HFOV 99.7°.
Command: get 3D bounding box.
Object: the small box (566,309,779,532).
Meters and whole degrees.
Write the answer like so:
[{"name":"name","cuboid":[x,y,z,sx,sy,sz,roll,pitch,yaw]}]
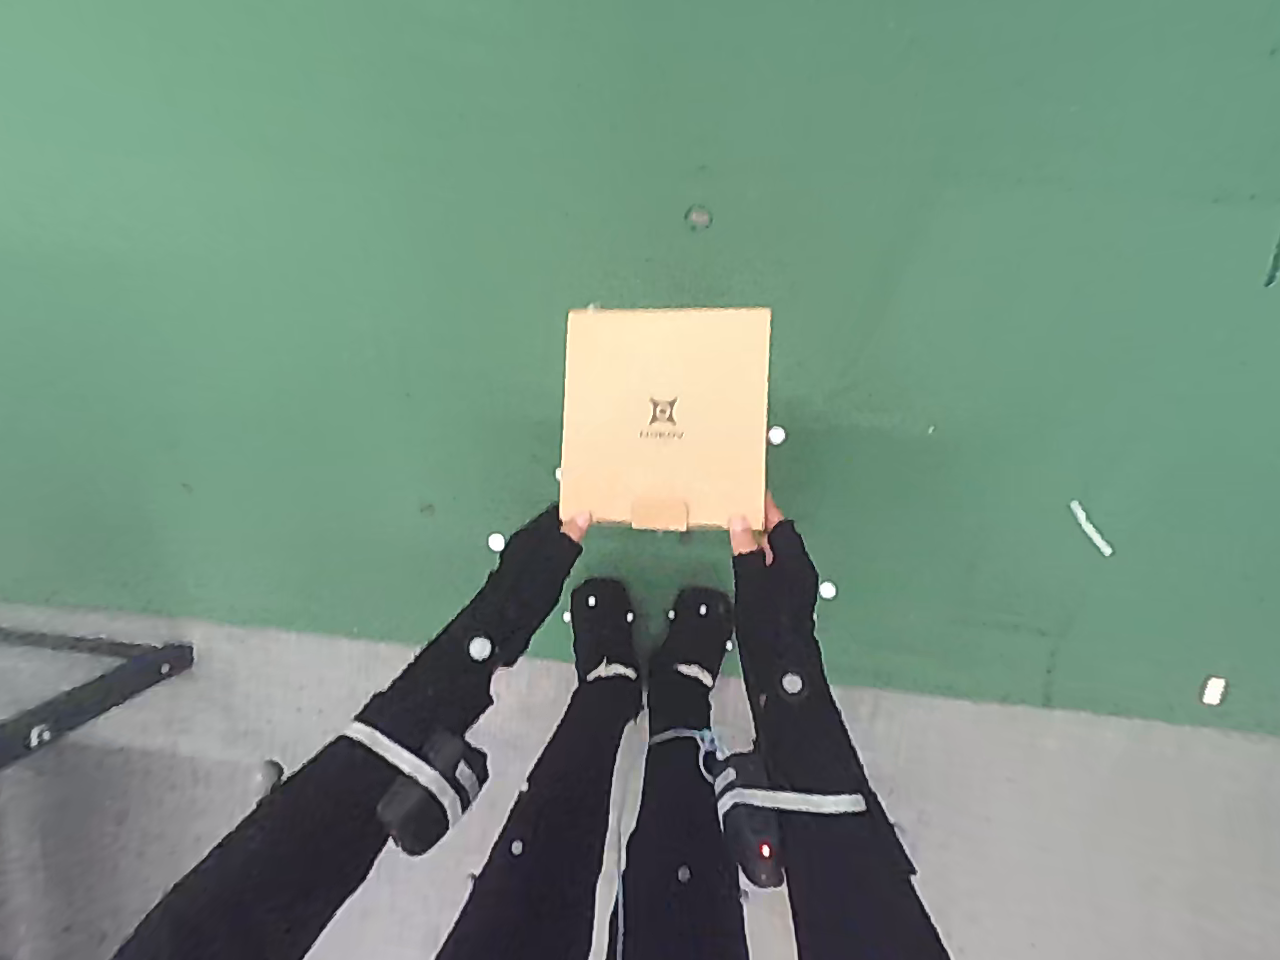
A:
[{"name":"small box","cuboid":[0.035,-0.045,0.506,0.168,0.176,0.179,1,88,8]}]
